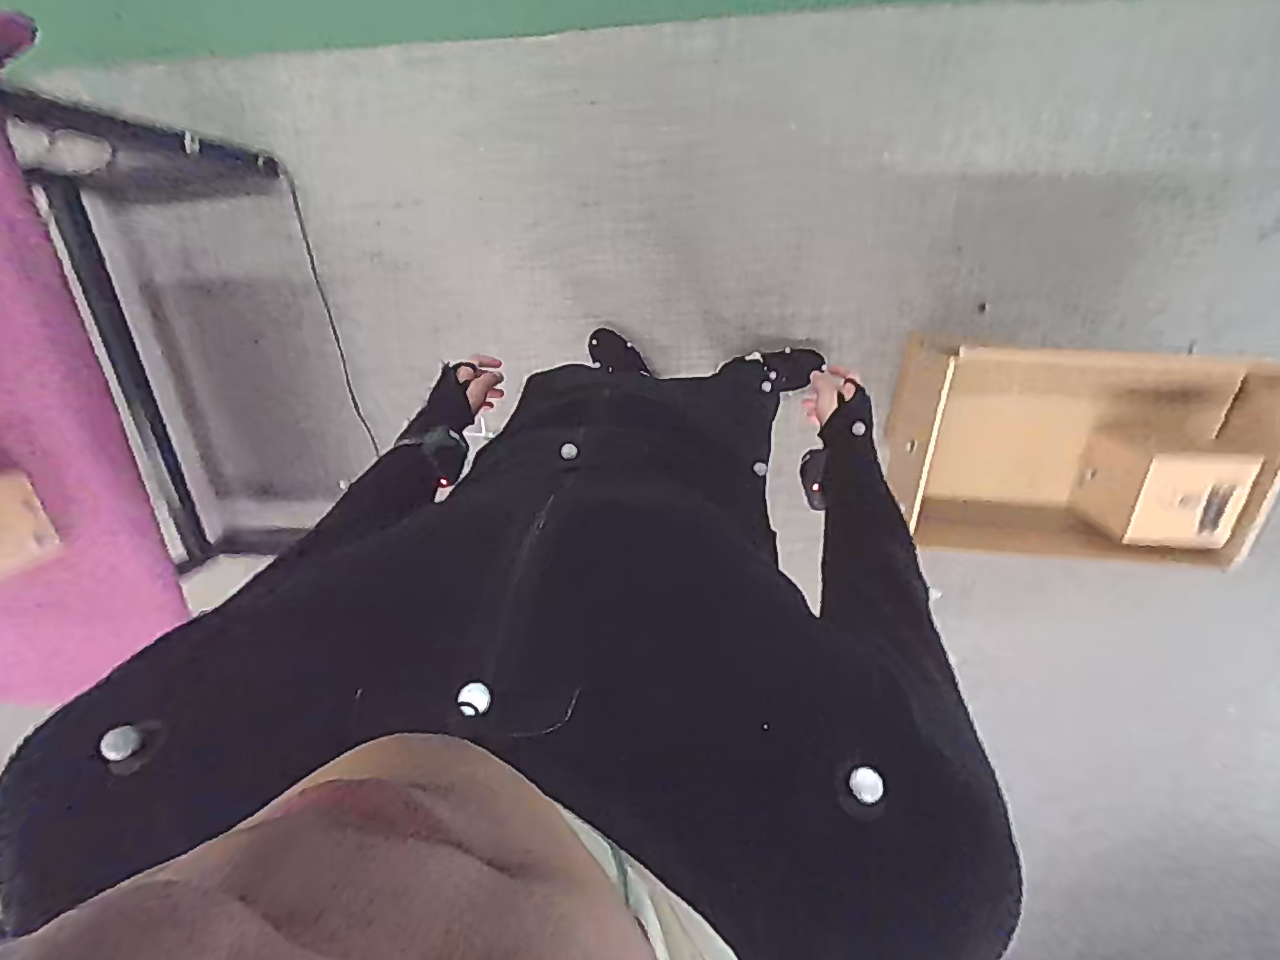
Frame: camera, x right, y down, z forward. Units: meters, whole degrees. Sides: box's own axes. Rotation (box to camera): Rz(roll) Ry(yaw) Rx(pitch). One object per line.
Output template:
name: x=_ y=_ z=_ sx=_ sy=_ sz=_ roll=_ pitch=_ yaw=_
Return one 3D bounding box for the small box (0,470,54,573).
small box: x=-1.228 y=0.086 z=0.970 sx=0.179 sy=0.176 sz=0.168 roll=-2 pitch=110 yaw=8
